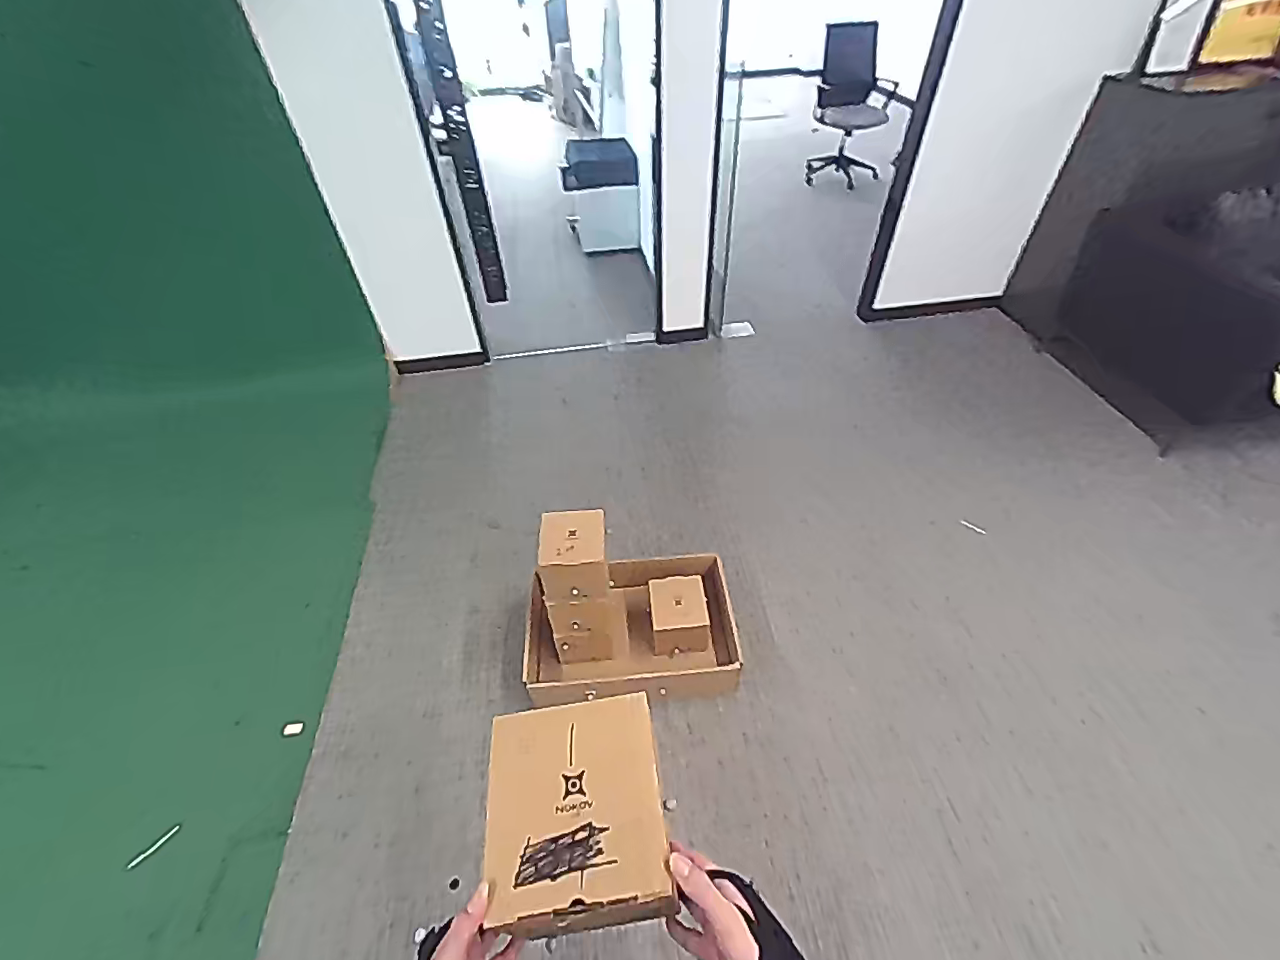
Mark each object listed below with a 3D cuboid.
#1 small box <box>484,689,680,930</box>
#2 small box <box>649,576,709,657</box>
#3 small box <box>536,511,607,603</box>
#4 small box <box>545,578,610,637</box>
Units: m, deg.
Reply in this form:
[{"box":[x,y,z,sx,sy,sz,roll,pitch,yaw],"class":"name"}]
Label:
[{"box":[-0.054,0.350,0.570,0.168,0.176,0.179,-9,45,-1],"class":"small box"},{"box":[0.115,0.421,1.667,0.168,0.176,0.179,-6,46,-1],"class":"small box"},{"box":[-0.176,0.205,1.436,0.168,0.176,0.179,-4,45,-2],"class":"small box"},{"box":[-0.175,0.326,1.548,0.168,0.176,0.179,-4,45,-2],"class":"small box"}]
